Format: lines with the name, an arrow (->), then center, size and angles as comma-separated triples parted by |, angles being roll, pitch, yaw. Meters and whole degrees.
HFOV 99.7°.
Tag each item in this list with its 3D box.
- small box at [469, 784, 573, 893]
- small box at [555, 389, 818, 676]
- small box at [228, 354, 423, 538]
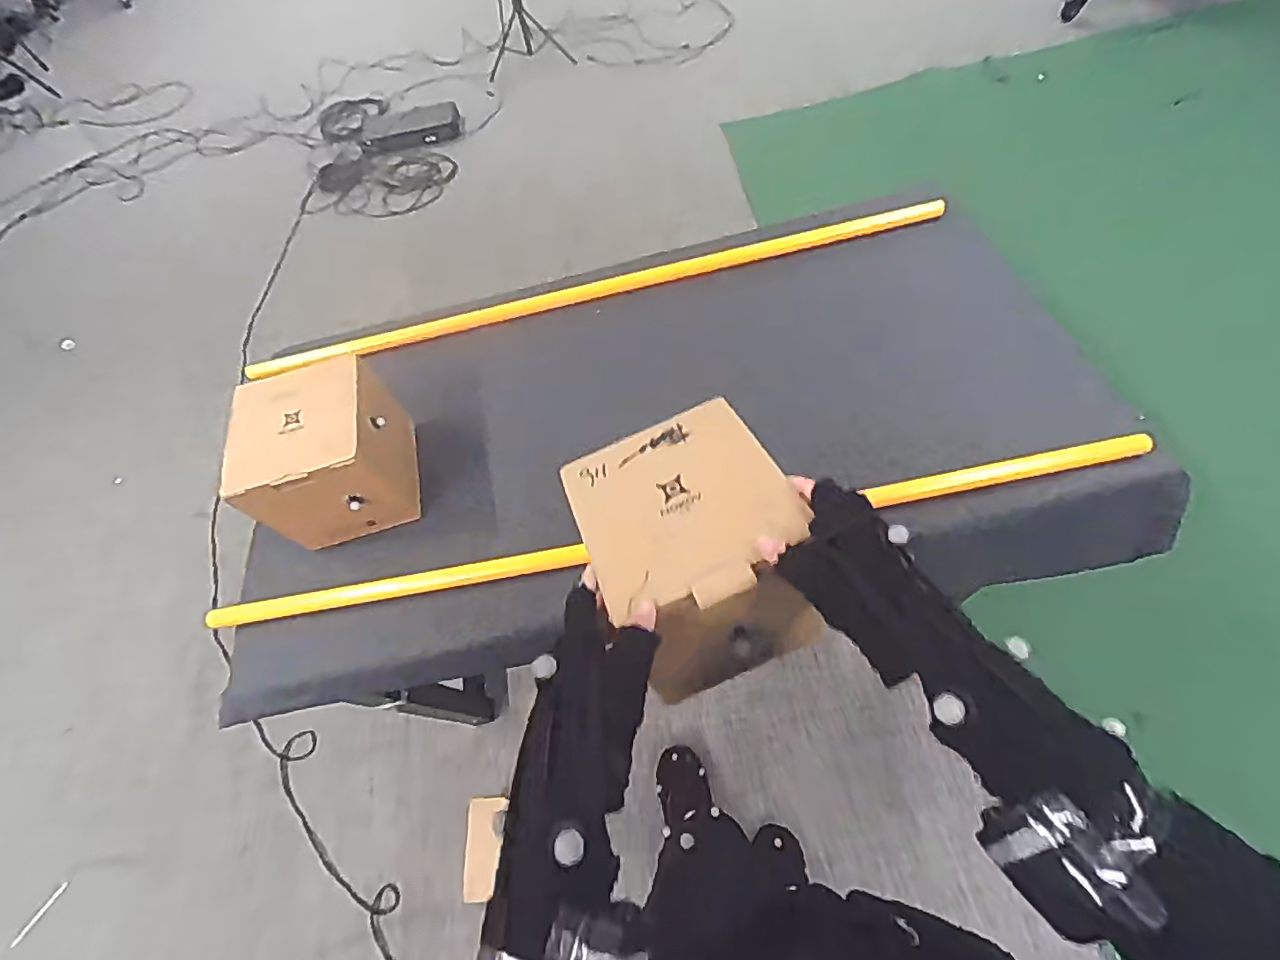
small box -> -0.240, 0.742, 1.134 | 0.168, 0.176, 0.179 | -6, 62, 6
small box -> 0.048, 0.057, 0.498 | 0.168, 0.176, 0.179 | -28, 48, -3
small box -> -0.415, -0.035, 0.742 | 0.168, 0.176, 0.179 | -17, 59, -2
